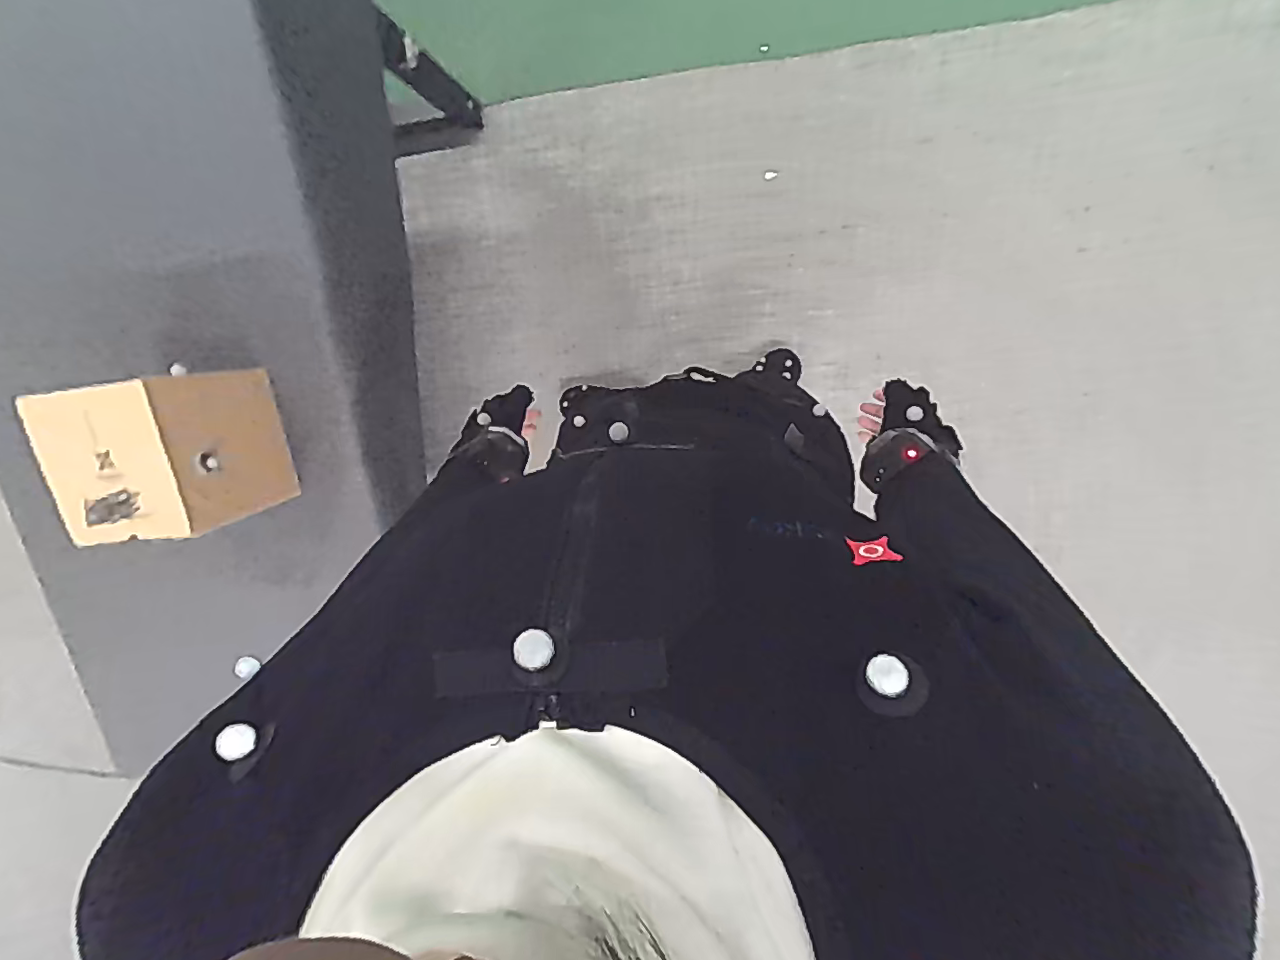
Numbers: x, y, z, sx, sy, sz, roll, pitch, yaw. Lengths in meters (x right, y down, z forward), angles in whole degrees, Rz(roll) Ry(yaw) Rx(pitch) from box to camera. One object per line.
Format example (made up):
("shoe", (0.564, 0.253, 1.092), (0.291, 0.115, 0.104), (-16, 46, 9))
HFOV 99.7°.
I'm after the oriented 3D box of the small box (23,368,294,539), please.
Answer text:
("small box", (-0.577, -0.040, 0.677), (0.168, 0.176, 0.179), (-5, 104, 9))
